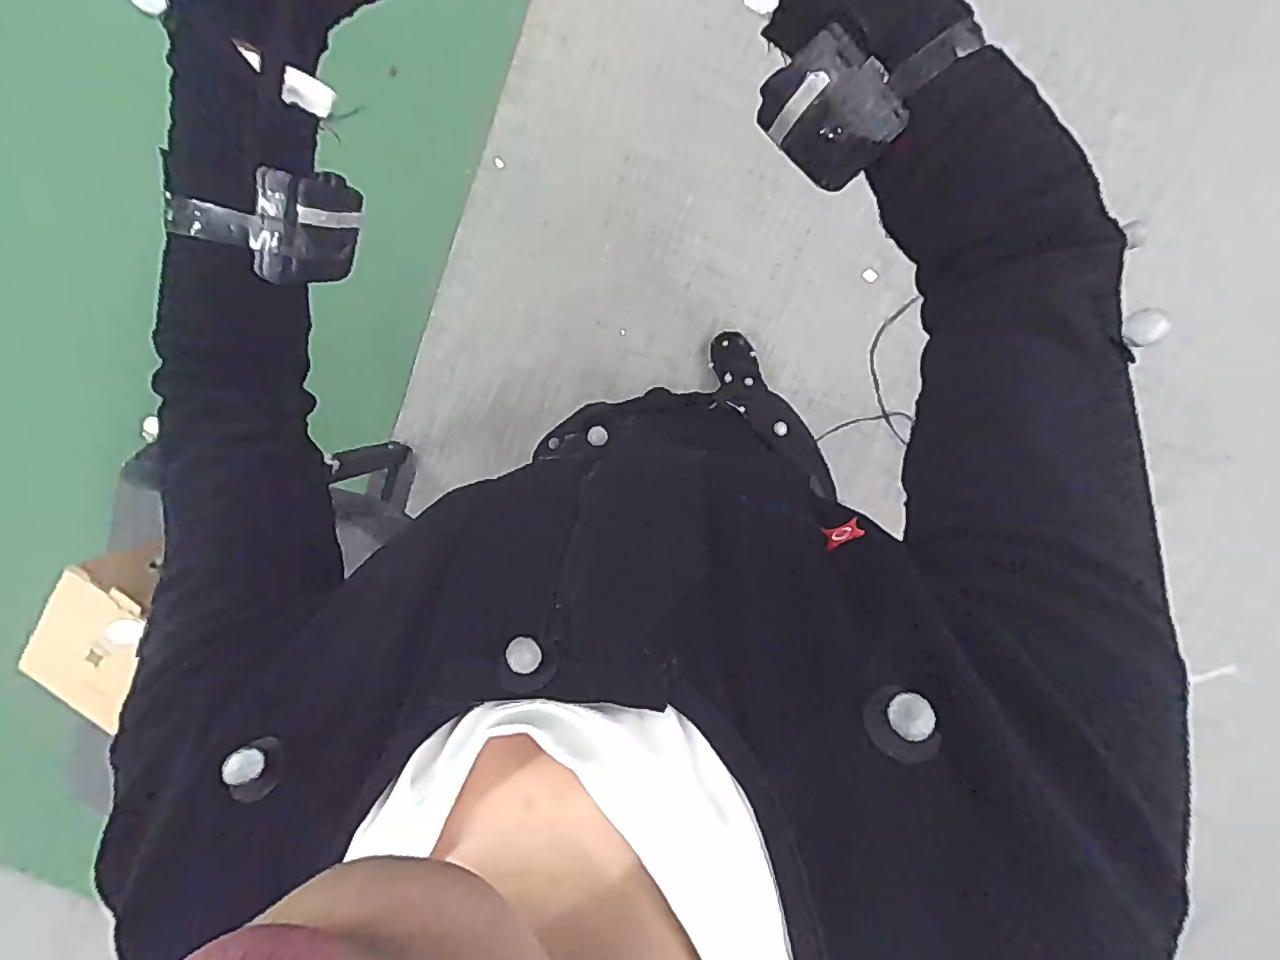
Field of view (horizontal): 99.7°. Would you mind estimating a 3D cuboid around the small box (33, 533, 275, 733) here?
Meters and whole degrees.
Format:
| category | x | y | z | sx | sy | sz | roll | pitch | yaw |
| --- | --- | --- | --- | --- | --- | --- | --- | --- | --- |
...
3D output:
| category | x | y | z | sx | sy | sz | roll | pitch | yaw |
| --- | --- | --- | --- | --- | --- | --- | --- | --- | --- |
| small box | -0.663 | 0.201 | 0.760 | 0.168 | 0.176 | 0.179 | 36 | 104 | 0 |
